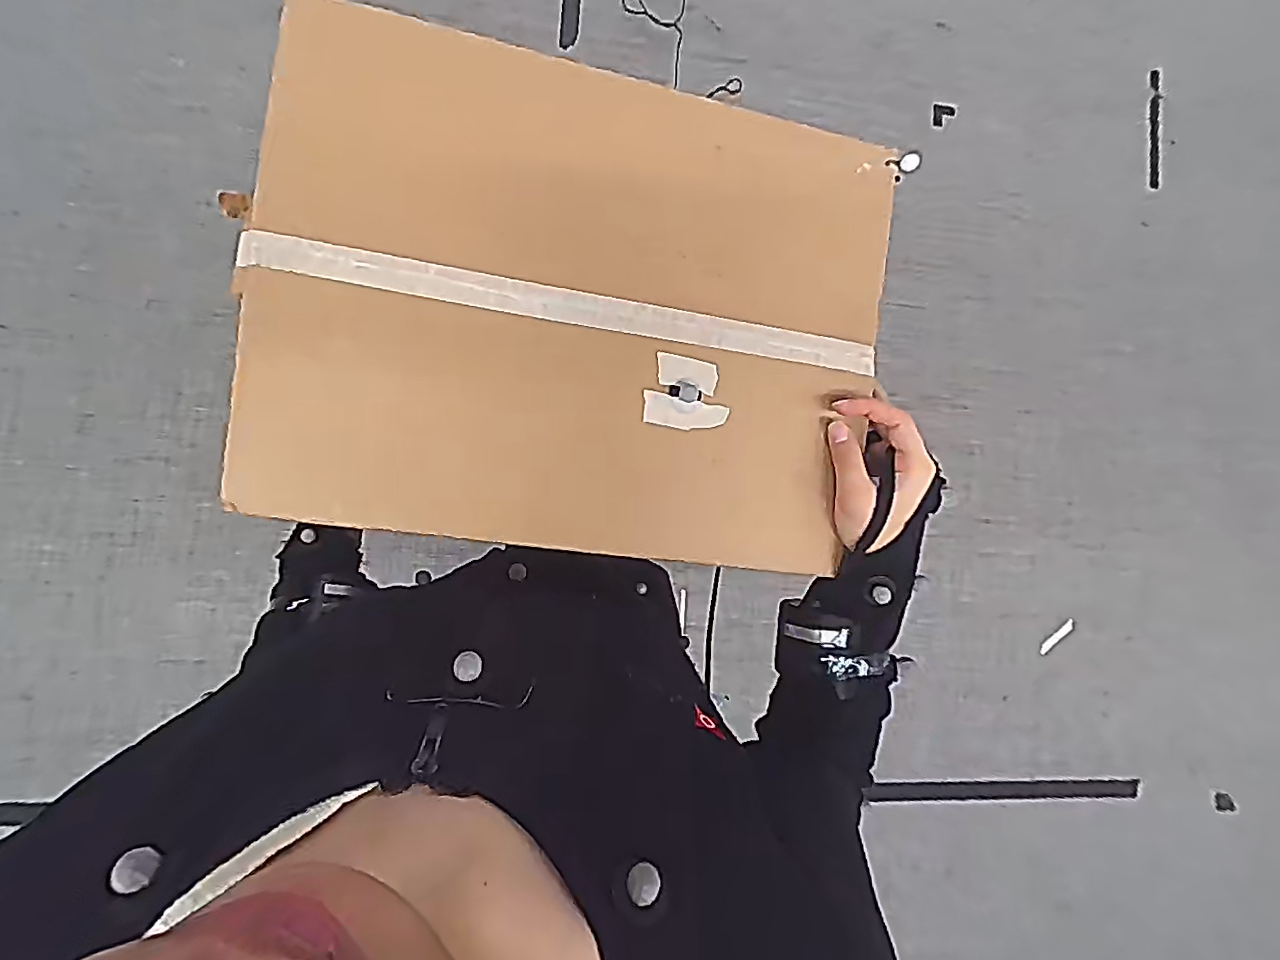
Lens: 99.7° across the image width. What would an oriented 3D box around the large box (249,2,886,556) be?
[{"bbox_3d":[-0.057,-0.119,0.507,0.408,0.320,0.320,7,91,-12],"label":"large box"}]
